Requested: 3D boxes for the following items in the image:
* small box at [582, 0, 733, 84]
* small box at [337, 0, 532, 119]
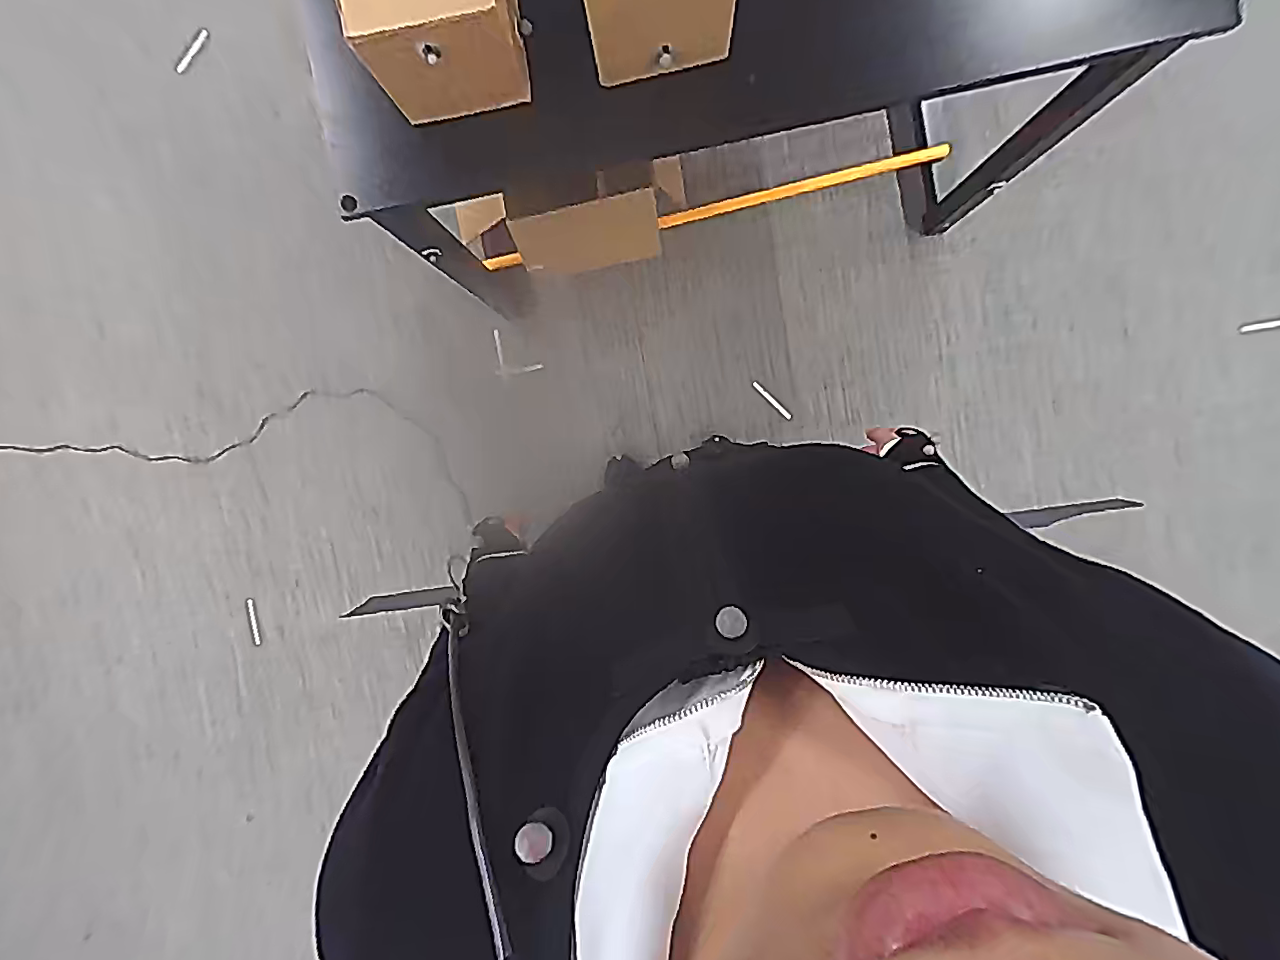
[{"bbox_3d":[0.013,-0.620,0.641,0.179,0.176,0.168,-11,93,3],"label":"small box"},{"bbox_3d":[-0.247,-0.578,0.658,0.179,0.176,0.168,-9,94,3],"label":"small box"}]
